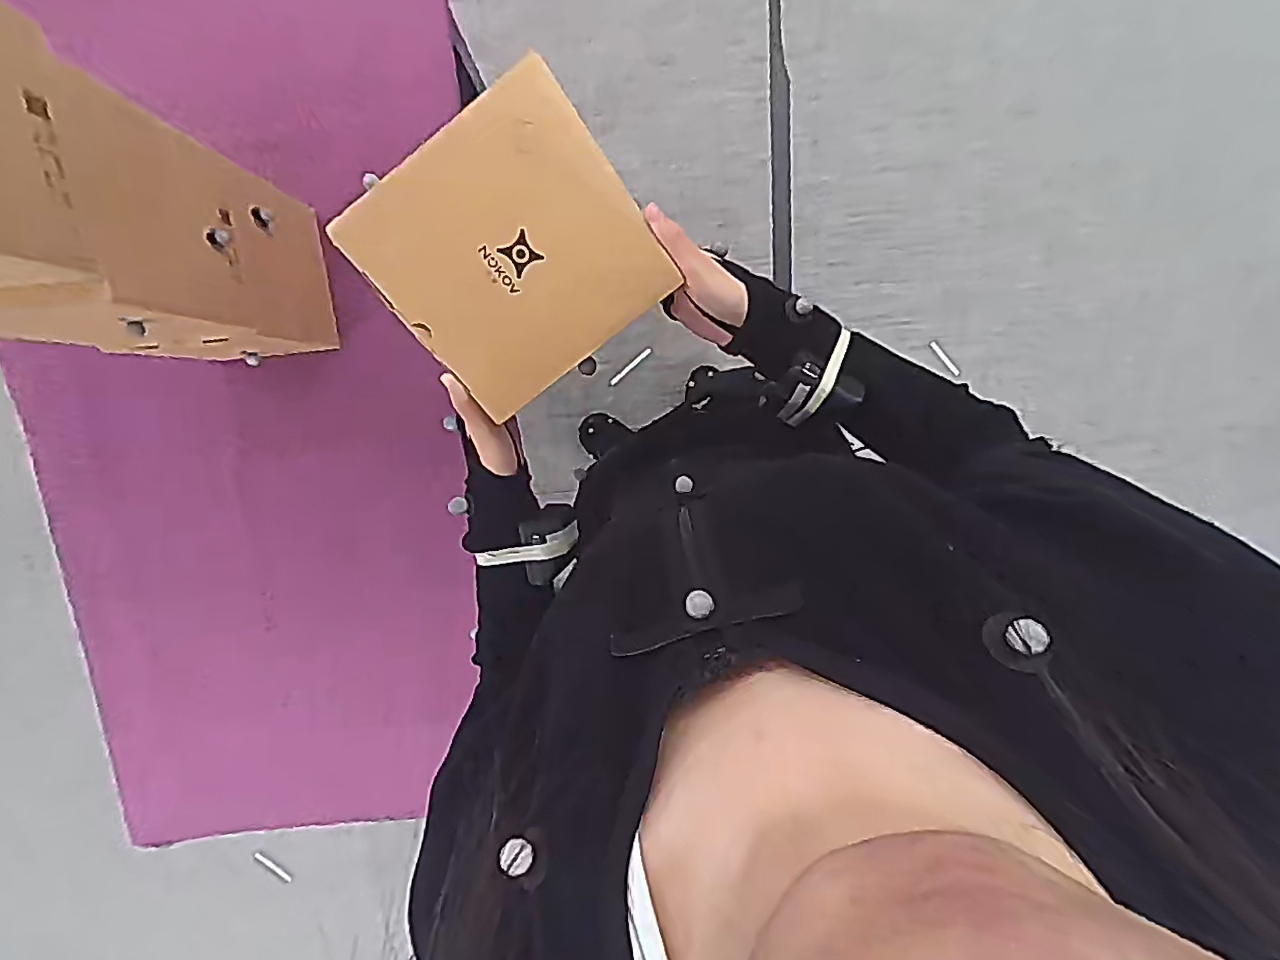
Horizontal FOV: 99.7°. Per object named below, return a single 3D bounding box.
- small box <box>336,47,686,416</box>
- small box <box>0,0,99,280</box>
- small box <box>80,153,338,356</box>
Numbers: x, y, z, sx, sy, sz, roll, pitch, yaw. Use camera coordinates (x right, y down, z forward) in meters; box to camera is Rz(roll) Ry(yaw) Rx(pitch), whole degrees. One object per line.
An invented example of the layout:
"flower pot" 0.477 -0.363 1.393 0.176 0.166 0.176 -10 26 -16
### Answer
"small box" -0.092 -0.185 0.436 0.179 0.176 0.168 -36 112 7
"small box" -0.474 -0.207 0.295 0.179 0.176 0.168 -6 100 0
"small box" -0.483 -0.242 0.621 0.168 0.176 0.179 -6 100 0
